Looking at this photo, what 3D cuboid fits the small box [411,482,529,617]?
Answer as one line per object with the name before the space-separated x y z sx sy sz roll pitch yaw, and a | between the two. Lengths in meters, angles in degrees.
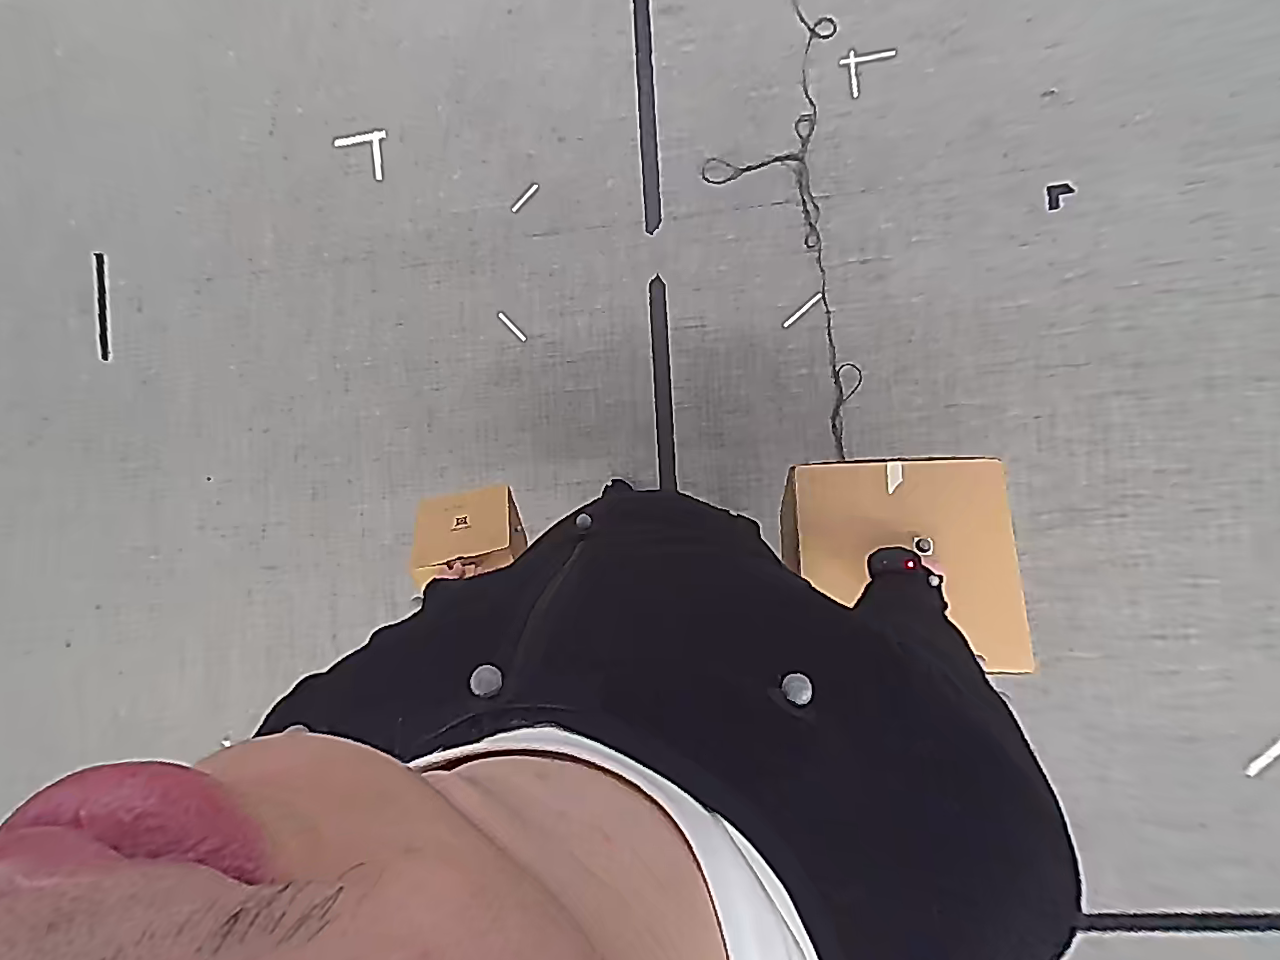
small box | -0.306 0.134 1.003 0.168 0.179 0.176 -11 132 -6
